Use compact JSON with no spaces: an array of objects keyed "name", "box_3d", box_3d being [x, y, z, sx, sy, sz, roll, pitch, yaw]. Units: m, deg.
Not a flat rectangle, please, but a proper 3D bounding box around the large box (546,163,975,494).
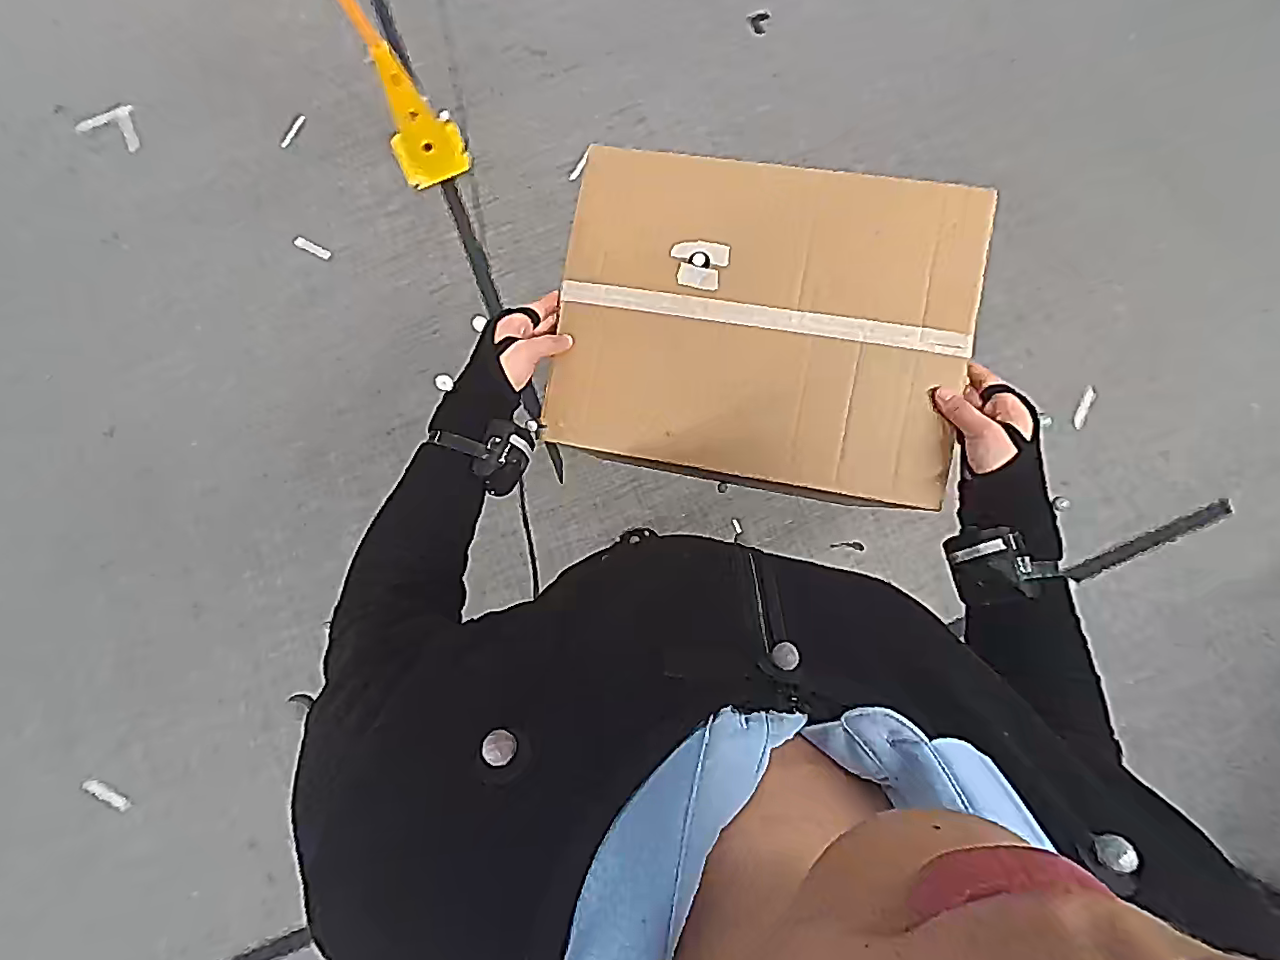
[{"name":"large box","box_3d":[0.135,-0.159,0.698,0.408,0.320,0.320,9,88,7]}]
